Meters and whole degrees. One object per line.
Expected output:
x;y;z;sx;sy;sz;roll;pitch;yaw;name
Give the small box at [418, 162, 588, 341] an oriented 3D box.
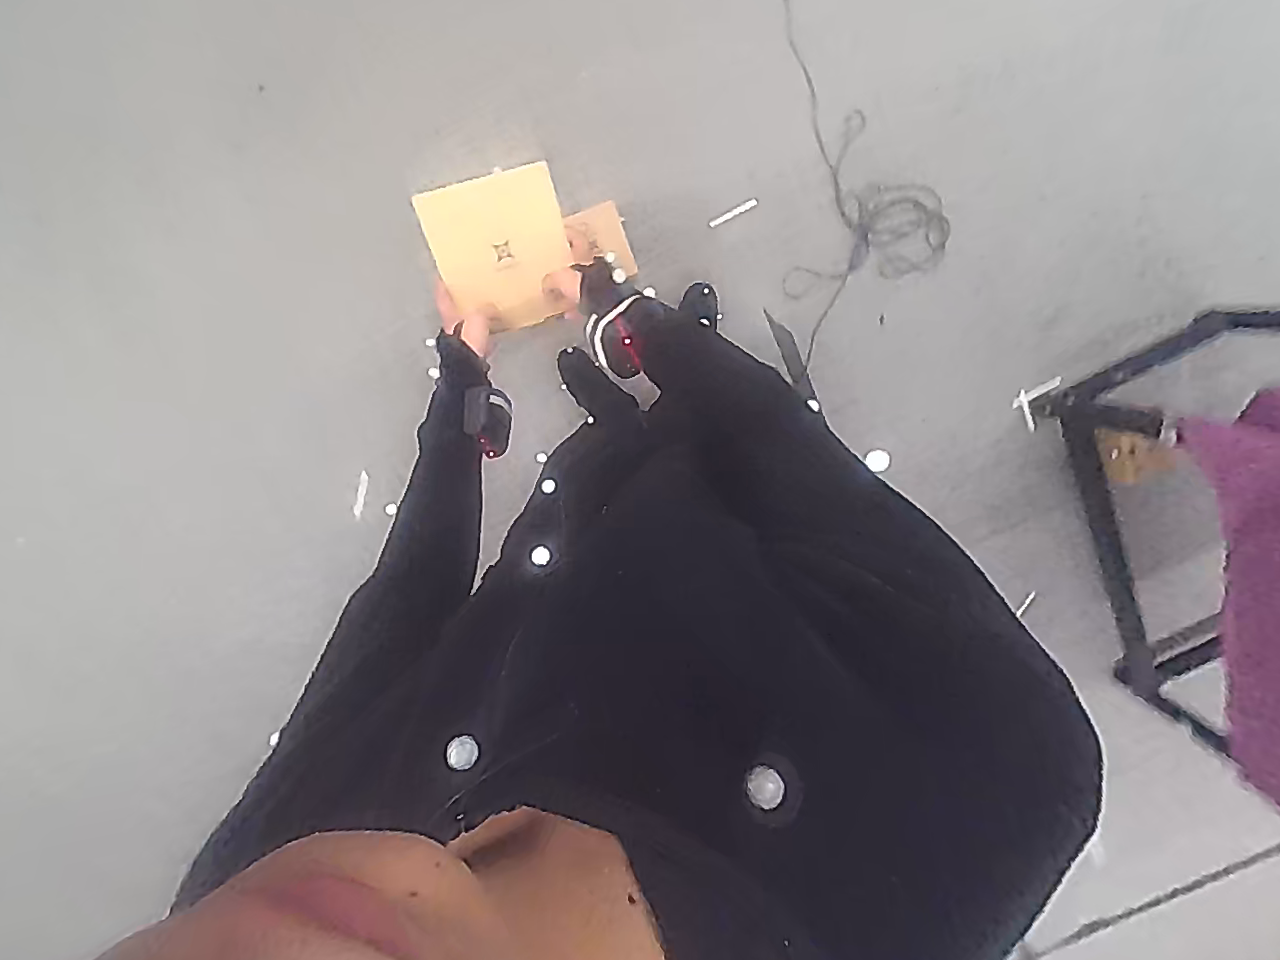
-0.180;-0.307;0.738;0.168;0.176;0.179;-17;116;-4;small box
